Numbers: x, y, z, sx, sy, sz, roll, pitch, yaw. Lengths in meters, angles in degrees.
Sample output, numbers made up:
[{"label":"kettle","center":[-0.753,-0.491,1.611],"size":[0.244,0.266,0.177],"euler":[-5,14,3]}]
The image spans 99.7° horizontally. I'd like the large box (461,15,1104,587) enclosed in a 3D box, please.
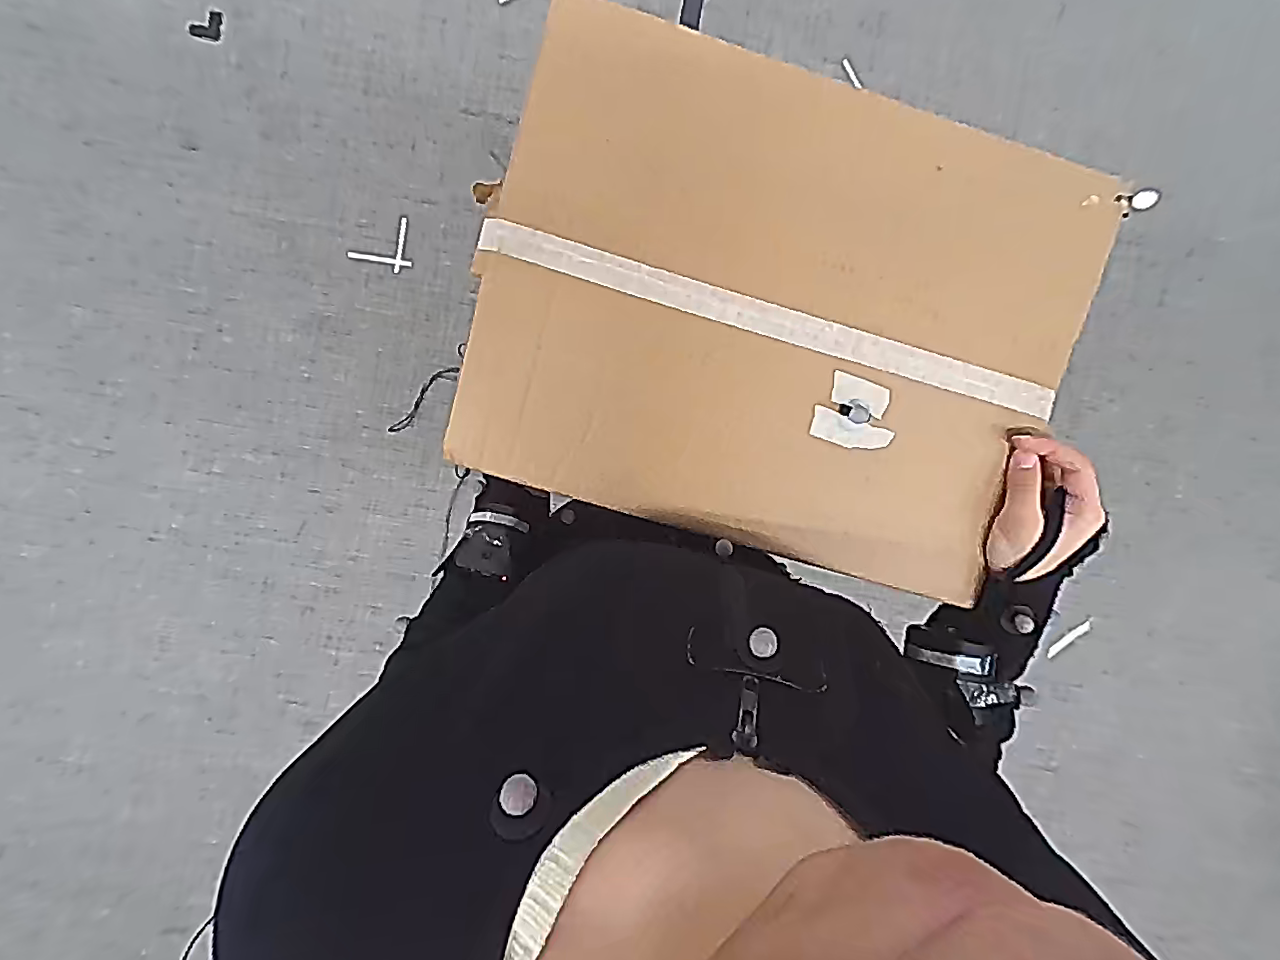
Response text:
[{"label":"large box","center":[0.090,-0.129,0.528],"size":[0.408,0.320,0.320],"euler":[15,98,-5]}]
